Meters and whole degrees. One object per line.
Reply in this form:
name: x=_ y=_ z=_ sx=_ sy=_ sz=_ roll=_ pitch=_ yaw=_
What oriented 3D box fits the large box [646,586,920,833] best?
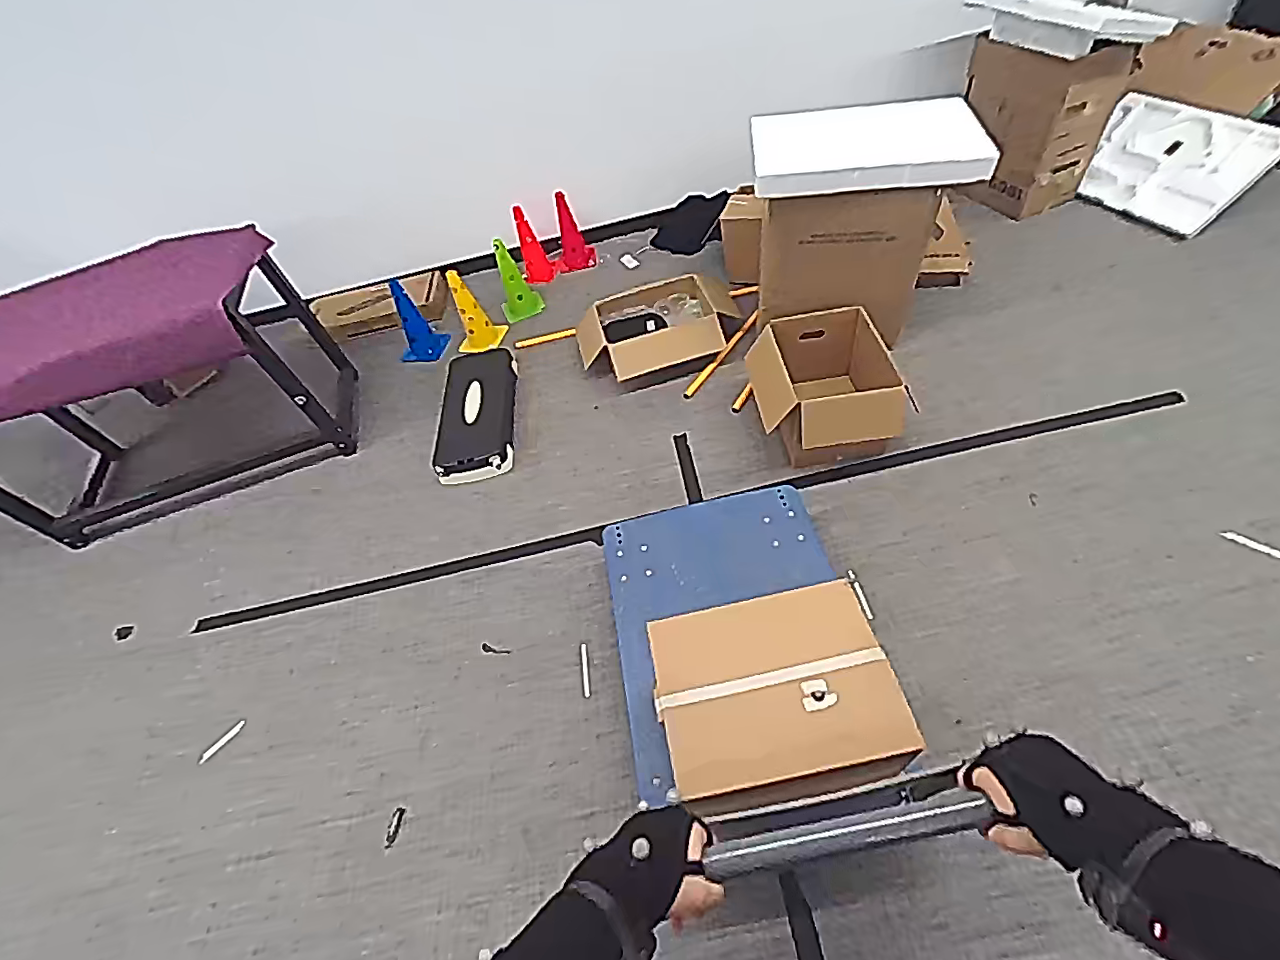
large box: x=0.249 y=0.456 z=1.062 sx=0.408 sy=0.320 sz=0.320 roll=-13 pitch=51 yaw=0
